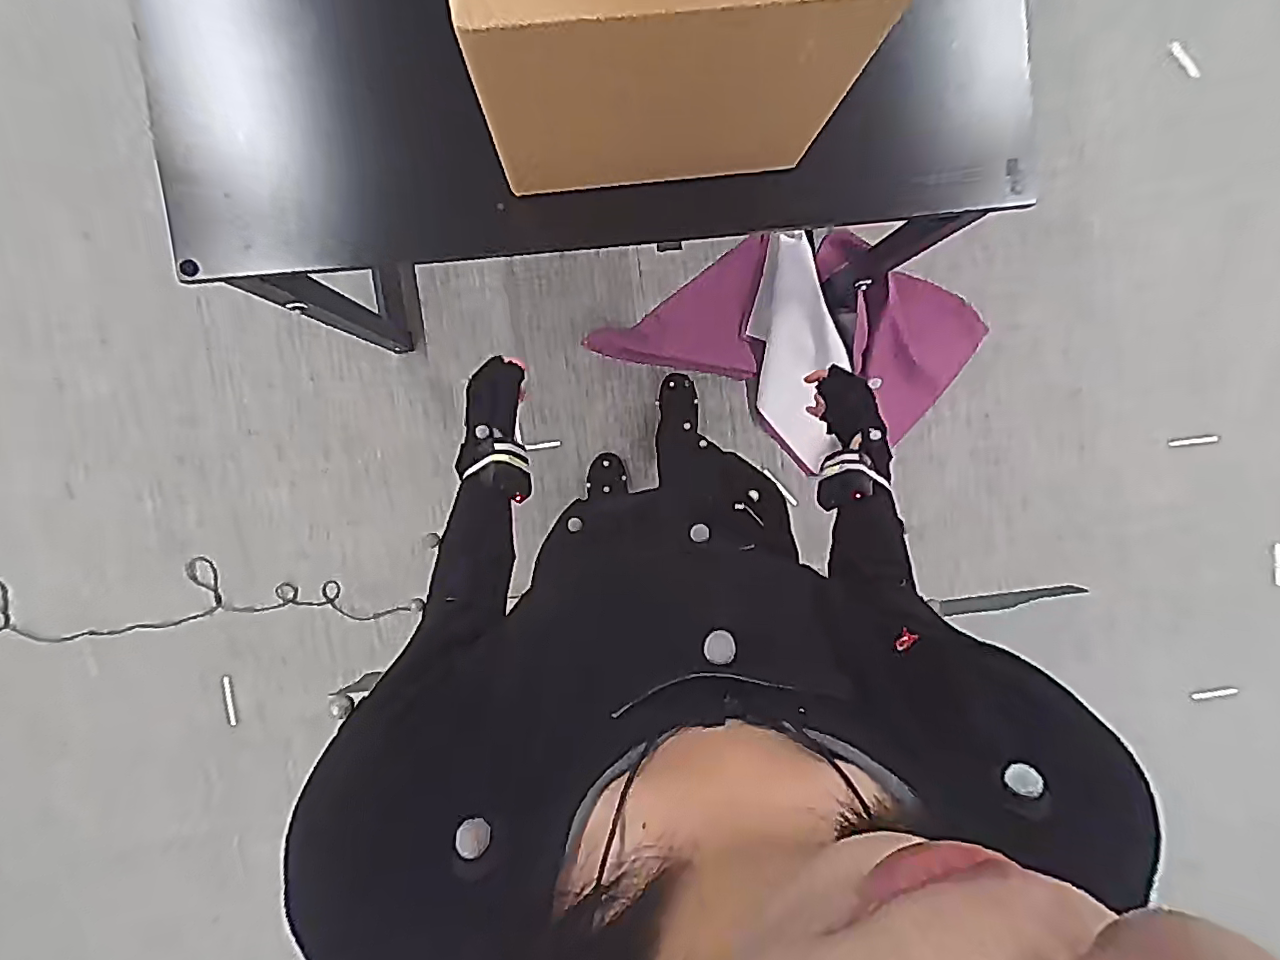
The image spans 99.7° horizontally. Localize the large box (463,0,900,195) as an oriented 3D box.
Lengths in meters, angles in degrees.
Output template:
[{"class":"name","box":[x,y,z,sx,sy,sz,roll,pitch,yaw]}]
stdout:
[{"class":"large box","box":[0.013,-0.560,0.597,0.408,0.320,0.320,-9,95,-5]}]
